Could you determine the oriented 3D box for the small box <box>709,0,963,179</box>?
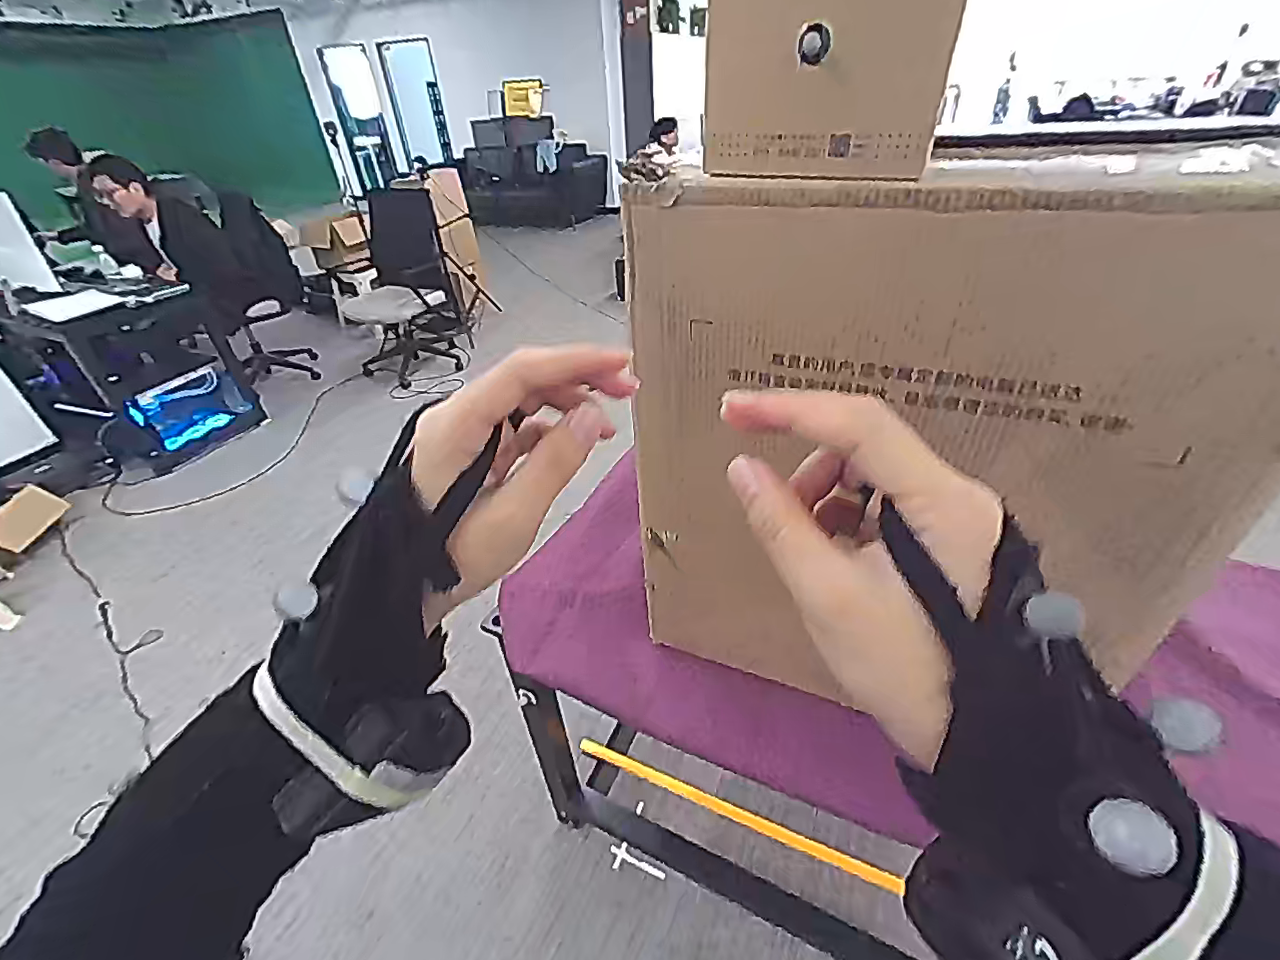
[{"bbox_3d":[0.156,-0.344,0.426,0.168,0.176,0.179,13,40,19],"label":"small box"}]
